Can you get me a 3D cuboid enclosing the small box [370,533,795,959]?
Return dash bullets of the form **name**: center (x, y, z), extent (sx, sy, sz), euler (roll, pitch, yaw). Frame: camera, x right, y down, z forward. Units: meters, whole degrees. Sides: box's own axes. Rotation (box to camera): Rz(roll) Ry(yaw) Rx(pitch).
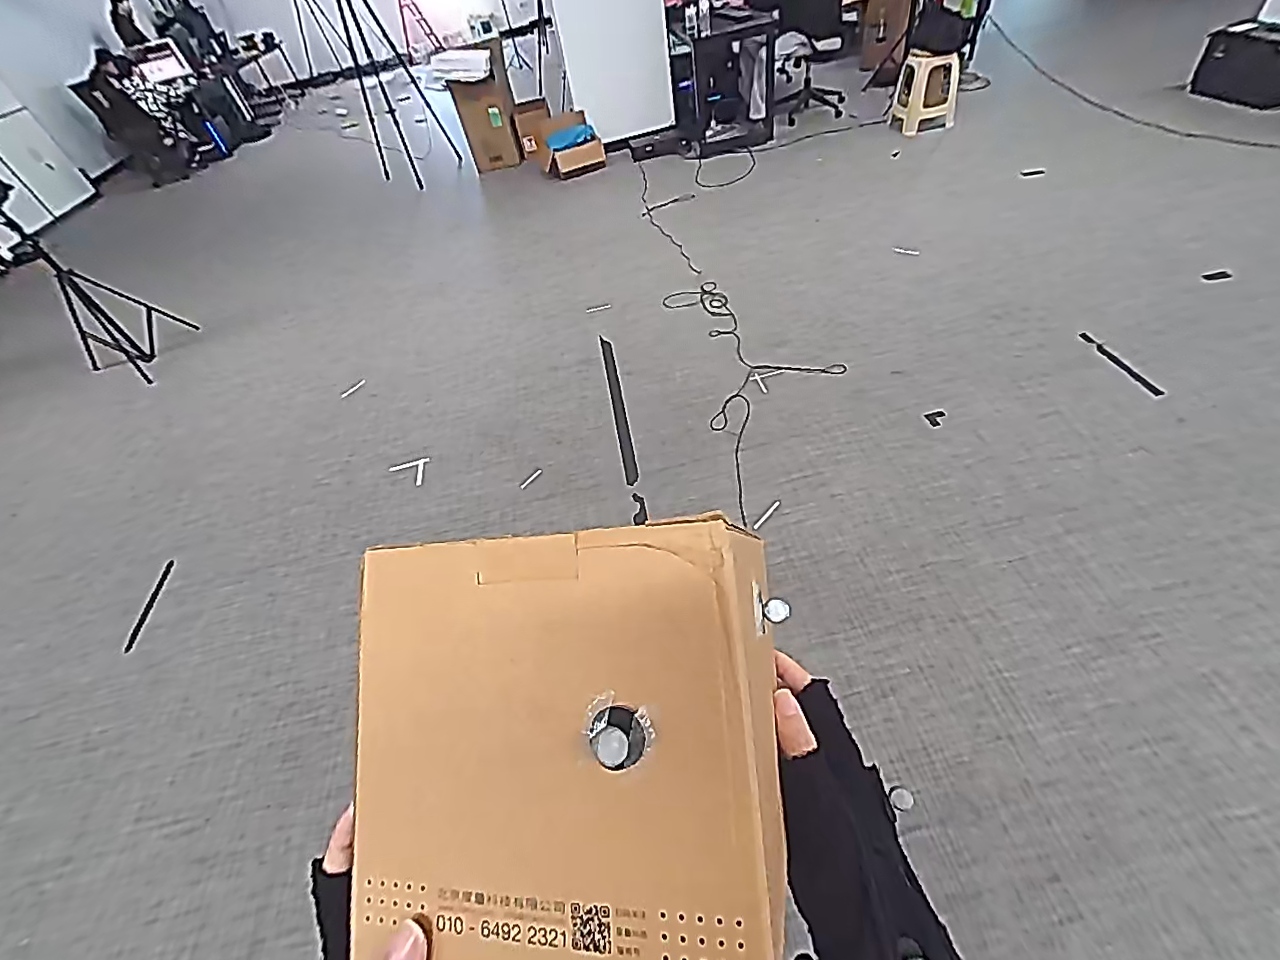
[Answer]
- **small box**: center (-0.012, 0.123, 0.285), extent (0.168, 0.179, 0.176), euler (-6, 79, 17)
